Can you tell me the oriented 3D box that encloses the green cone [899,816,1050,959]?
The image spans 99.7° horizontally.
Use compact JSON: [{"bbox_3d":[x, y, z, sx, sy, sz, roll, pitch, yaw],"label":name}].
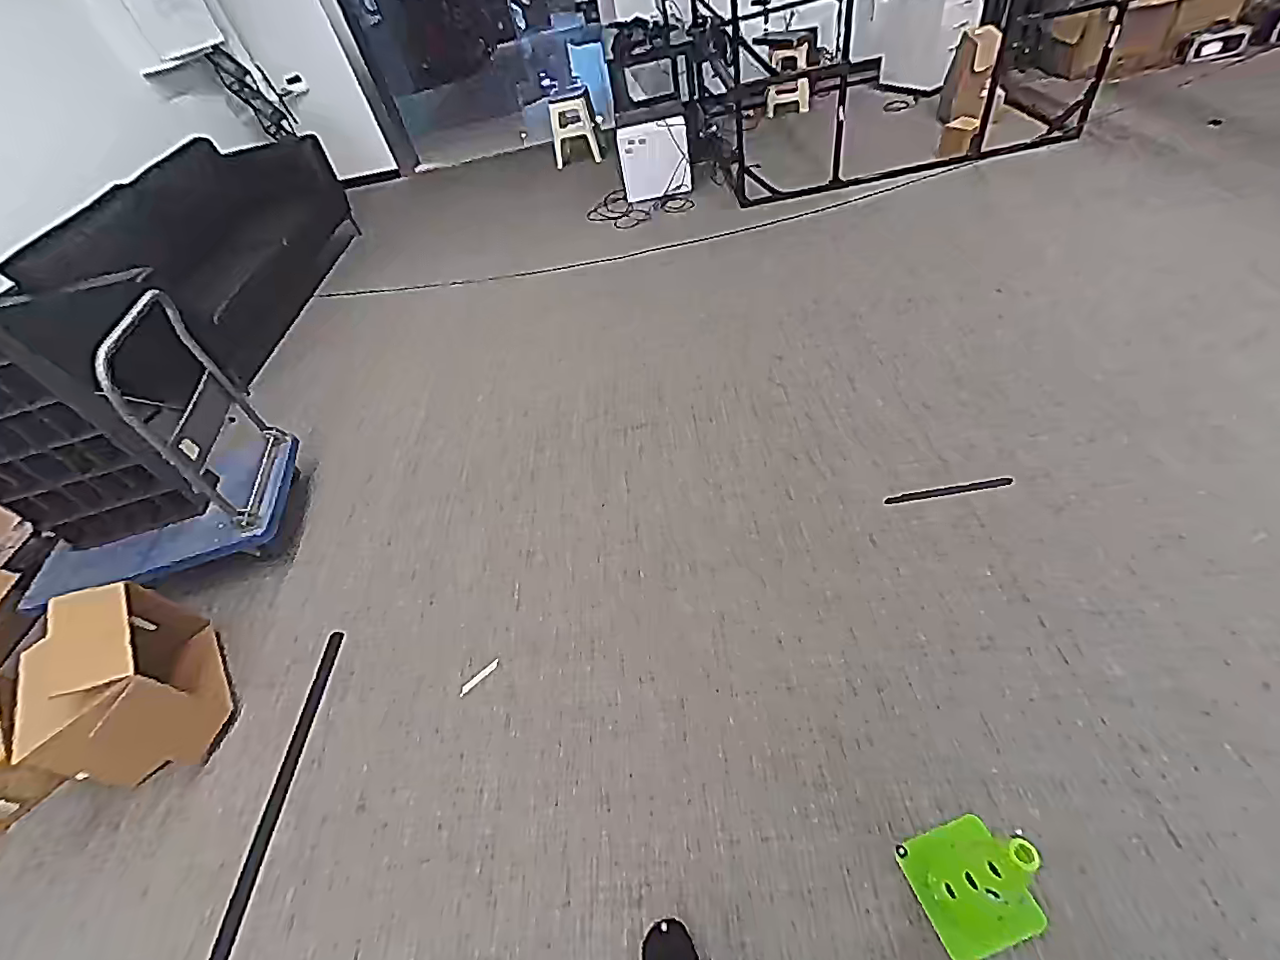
[{"bbox_3d":[0.619,0.683,0.937,0.202,0.368,0.200,-20,47,-6],"label":"green cone"}]
